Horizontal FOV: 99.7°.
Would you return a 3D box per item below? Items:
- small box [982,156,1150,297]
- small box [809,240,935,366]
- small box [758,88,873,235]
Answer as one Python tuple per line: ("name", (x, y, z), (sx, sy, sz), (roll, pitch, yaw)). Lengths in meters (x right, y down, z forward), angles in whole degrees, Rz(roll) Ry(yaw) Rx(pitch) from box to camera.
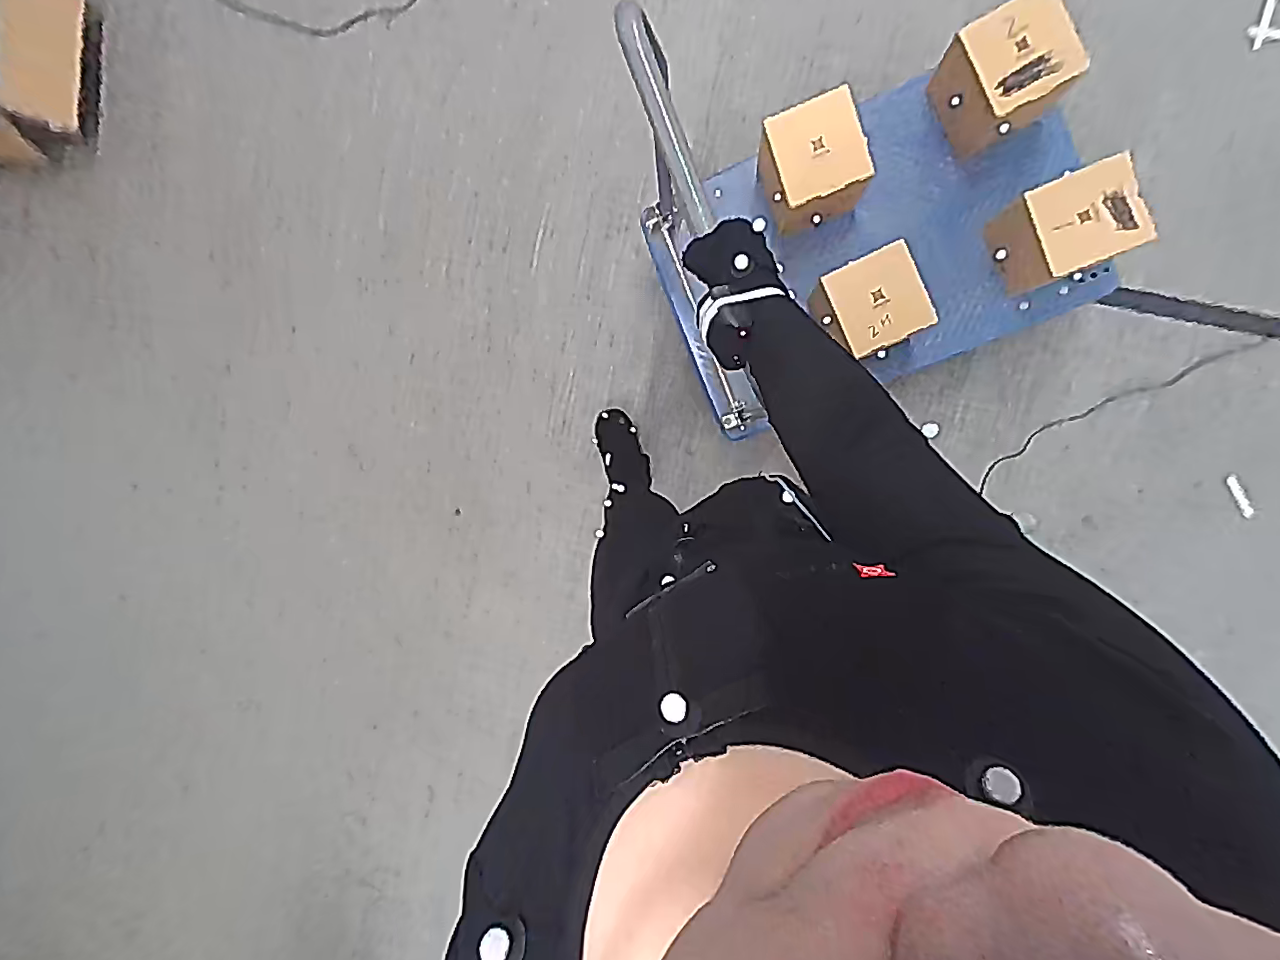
("small box", (0.814, -0.479, 1.051), (0.179, 0.176, 0.168), (-20, 92, 11))
("small box", (0.465, -0.353, 1.116), (0.168, 0.176, 0.179), (-23, 92, 10))
("small box", (0.348, -0.638, 1.107), (0.168, 0.176, 0.179), (-19, 93, 10))
